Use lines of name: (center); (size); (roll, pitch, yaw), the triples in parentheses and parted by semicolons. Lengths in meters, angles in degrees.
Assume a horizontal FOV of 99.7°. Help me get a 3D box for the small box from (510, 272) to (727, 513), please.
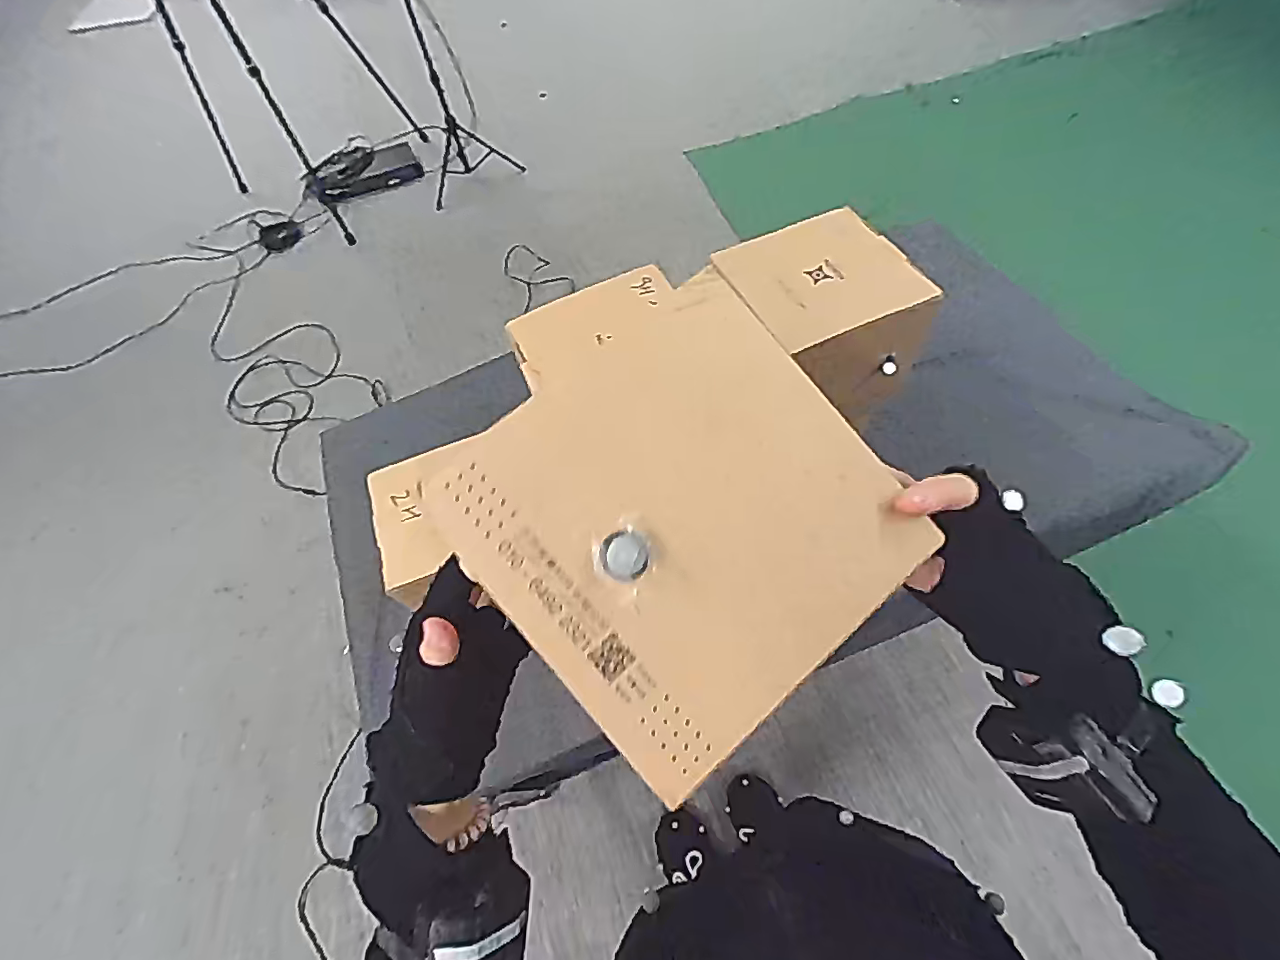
small box: (-0.018, -0.089, 0.608); (0.179, 0.176, 0.168); (-26, 62, -8)
